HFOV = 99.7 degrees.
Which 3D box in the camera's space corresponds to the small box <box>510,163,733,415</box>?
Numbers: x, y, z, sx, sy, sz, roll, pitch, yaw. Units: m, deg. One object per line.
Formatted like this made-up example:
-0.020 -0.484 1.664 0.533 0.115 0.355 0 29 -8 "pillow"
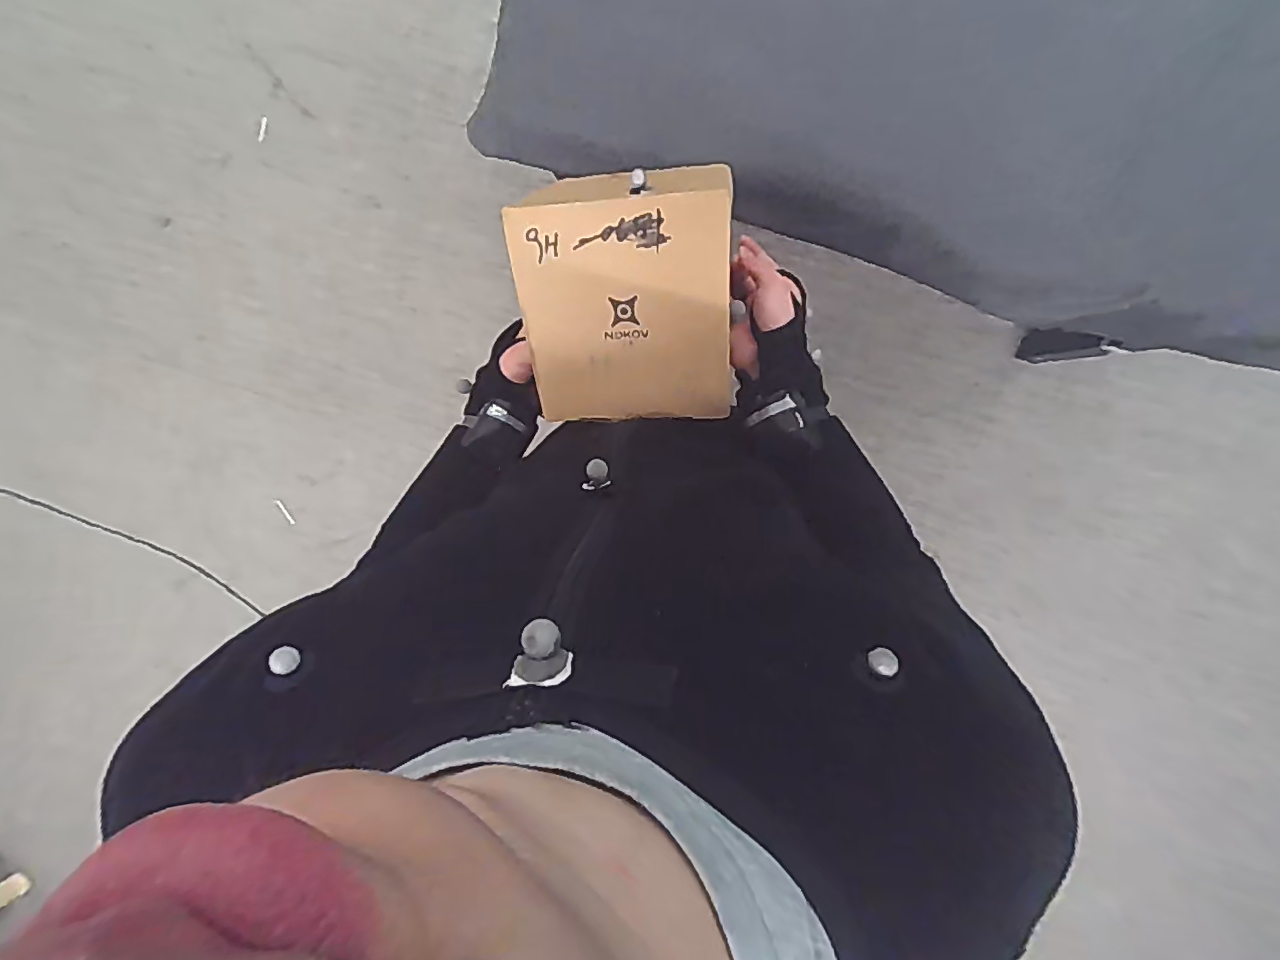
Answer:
0.001 -0.177 0.499 0.168 0.176 0.179 0 126 8 "small box"
